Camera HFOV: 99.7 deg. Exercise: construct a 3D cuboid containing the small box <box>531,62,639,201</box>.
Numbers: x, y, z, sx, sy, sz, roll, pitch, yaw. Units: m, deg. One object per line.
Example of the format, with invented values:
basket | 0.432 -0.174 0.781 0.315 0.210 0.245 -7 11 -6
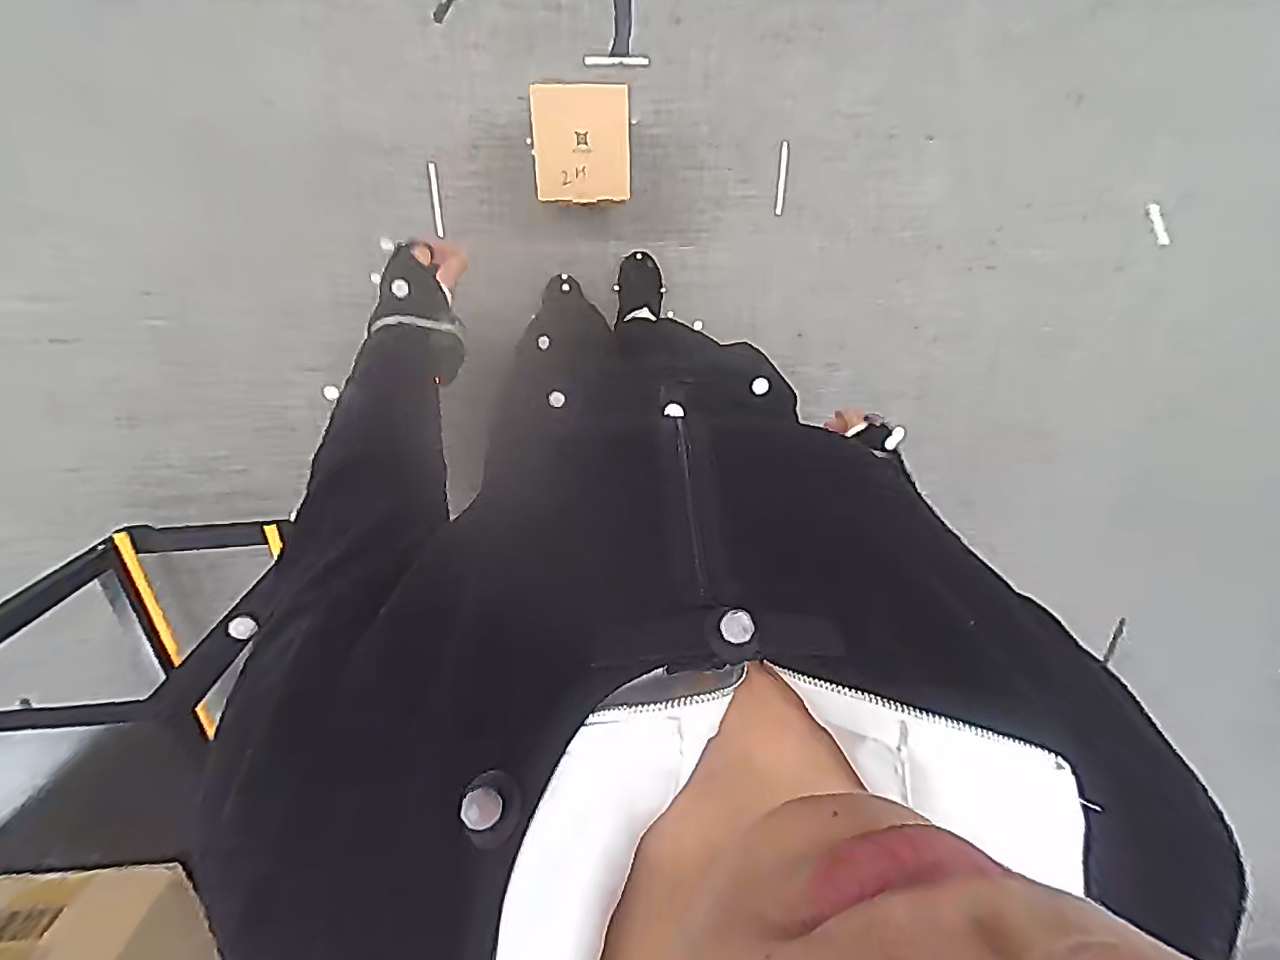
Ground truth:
small box | -0.090 -0.578 0.916 0.168 0.176 0.179 -3 115 -4
